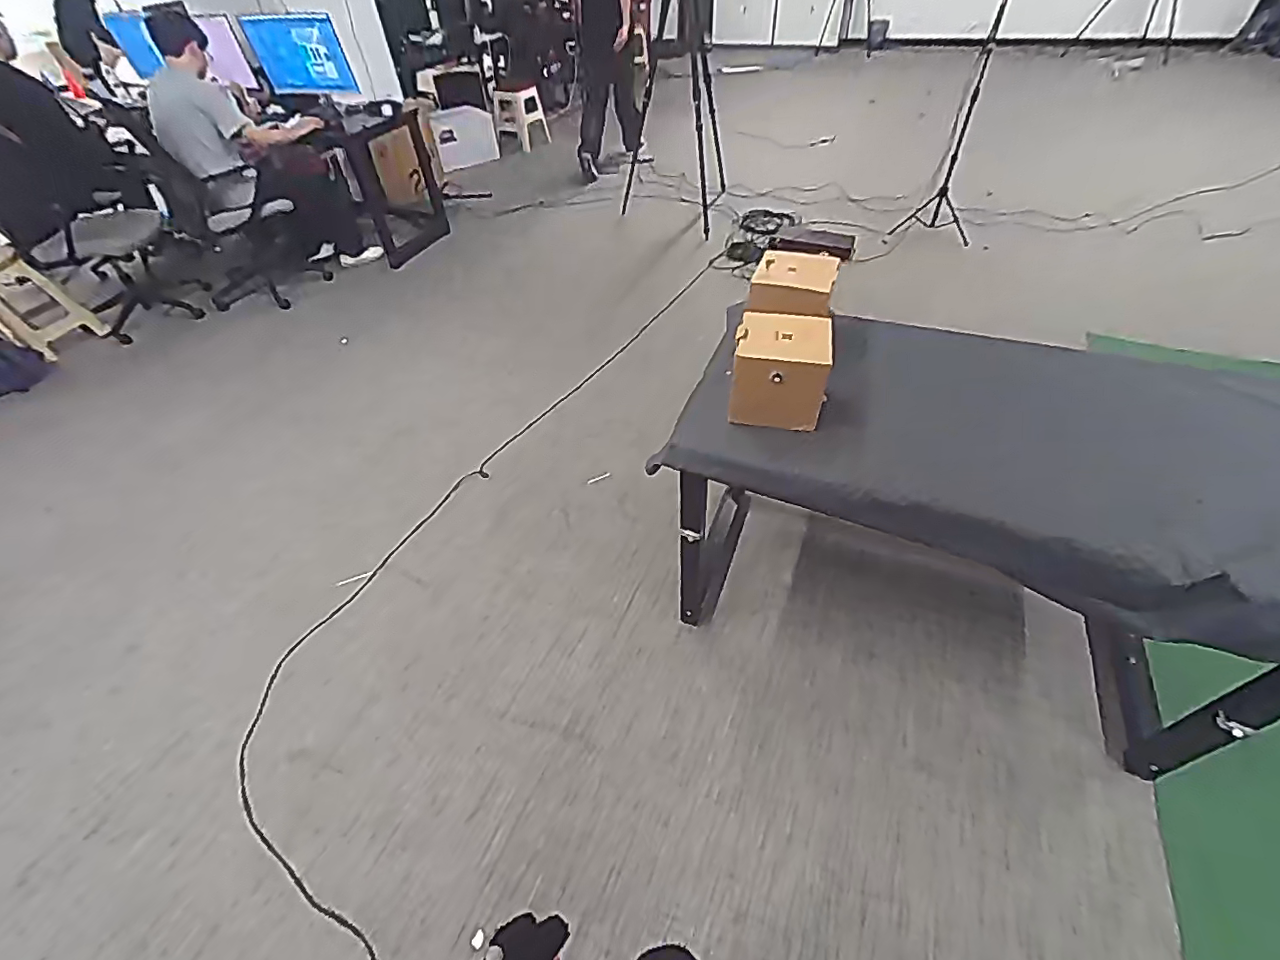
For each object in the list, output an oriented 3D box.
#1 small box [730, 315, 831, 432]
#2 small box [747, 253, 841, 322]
[{"bbox_3d":[0.283,-0.216,1.105,0.179,0.176,0.168,9,48,10],"label":"small box"},{"bbox_3d":[0.358,-0.412,1.286,0.179,0.176,0.168,15,50,16],"label":"small box"}]
